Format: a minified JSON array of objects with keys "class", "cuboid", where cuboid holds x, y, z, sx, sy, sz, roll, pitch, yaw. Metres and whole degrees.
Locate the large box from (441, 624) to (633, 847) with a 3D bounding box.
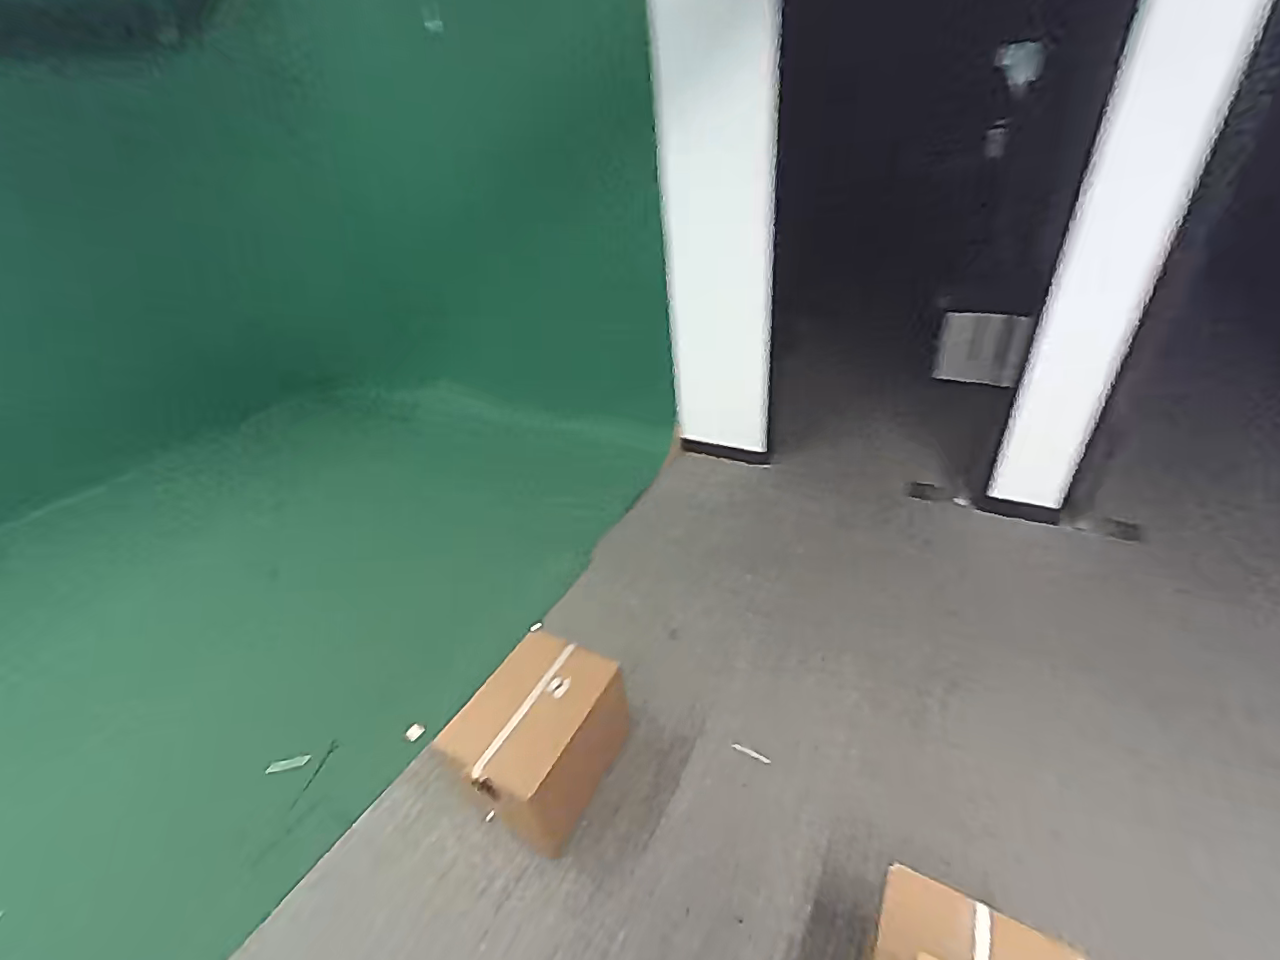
[{"class":"large box","cuboid":[-0.260,0.686,1.497,0.320,0.320,0.408,13,38,27]}]
